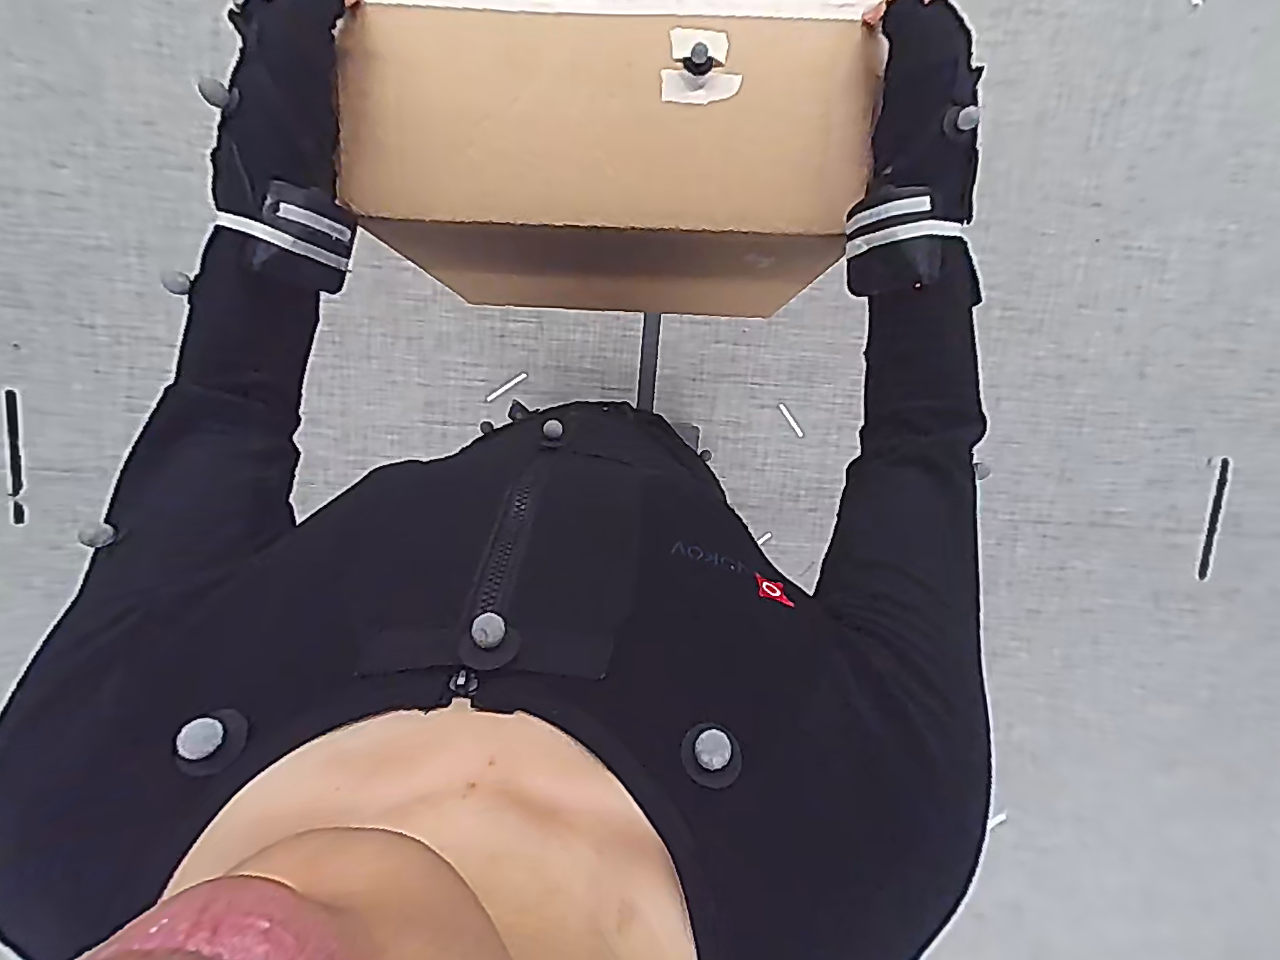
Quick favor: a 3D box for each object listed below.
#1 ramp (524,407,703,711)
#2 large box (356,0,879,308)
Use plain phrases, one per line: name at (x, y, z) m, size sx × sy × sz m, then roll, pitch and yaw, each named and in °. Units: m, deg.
ramp at (-0.096, 0.284, 1.620) m, size 0.509 × 0.206 × 0.991 m, roll 1°, pitch 99°, yaw -2°
large box at (-0.019, -0.370, 0.558) m, size 0.408 × 0.320 × 0.320 m, roll 2°, pitch 96°, yaw 0°
